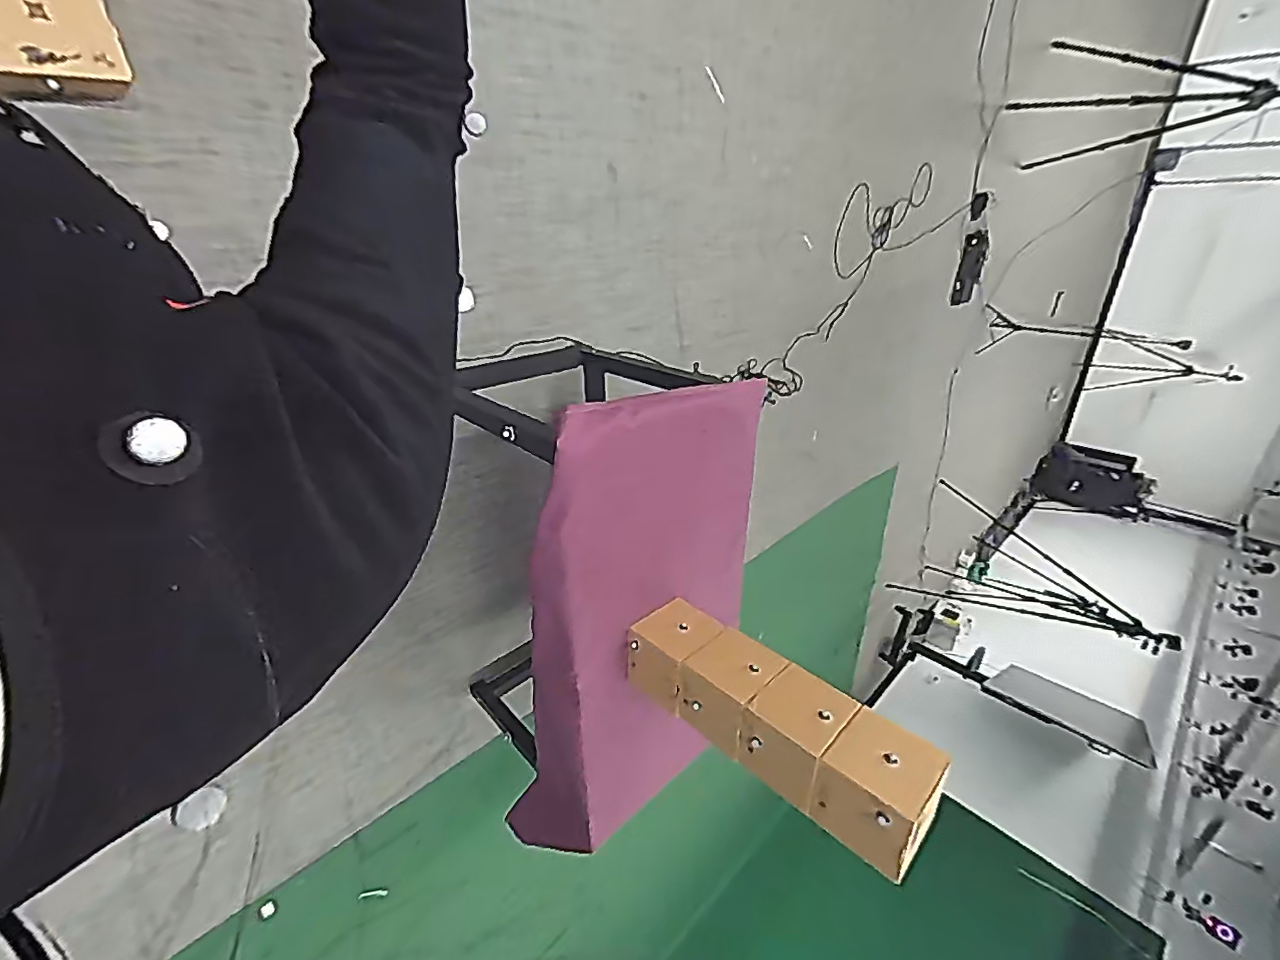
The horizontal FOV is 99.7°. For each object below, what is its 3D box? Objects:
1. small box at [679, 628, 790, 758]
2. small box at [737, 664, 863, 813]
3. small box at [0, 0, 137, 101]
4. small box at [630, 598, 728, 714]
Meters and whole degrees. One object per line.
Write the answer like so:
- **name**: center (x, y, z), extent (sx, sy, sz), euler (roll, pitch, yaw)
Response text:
- **small box**: center (0.207, 0.463, 1.204), extent (0.179, 0.176, 0.168), euler (-21, 122, -38)
- **small box**: center (0.322, 0.511, 1.099), extent (0.179, 0.176, 0.168), euler (-22, 122, -38)
- **small box**: center (-0.928, -0.713, 0.838), extent (0.168, 0.176, 0.179), euler (-25, 124, -37)
- **small box**: center (0.089, 0.416, 1.308), extent (0.179, 0.176, 0.168), euler (-21, 122, -39)
